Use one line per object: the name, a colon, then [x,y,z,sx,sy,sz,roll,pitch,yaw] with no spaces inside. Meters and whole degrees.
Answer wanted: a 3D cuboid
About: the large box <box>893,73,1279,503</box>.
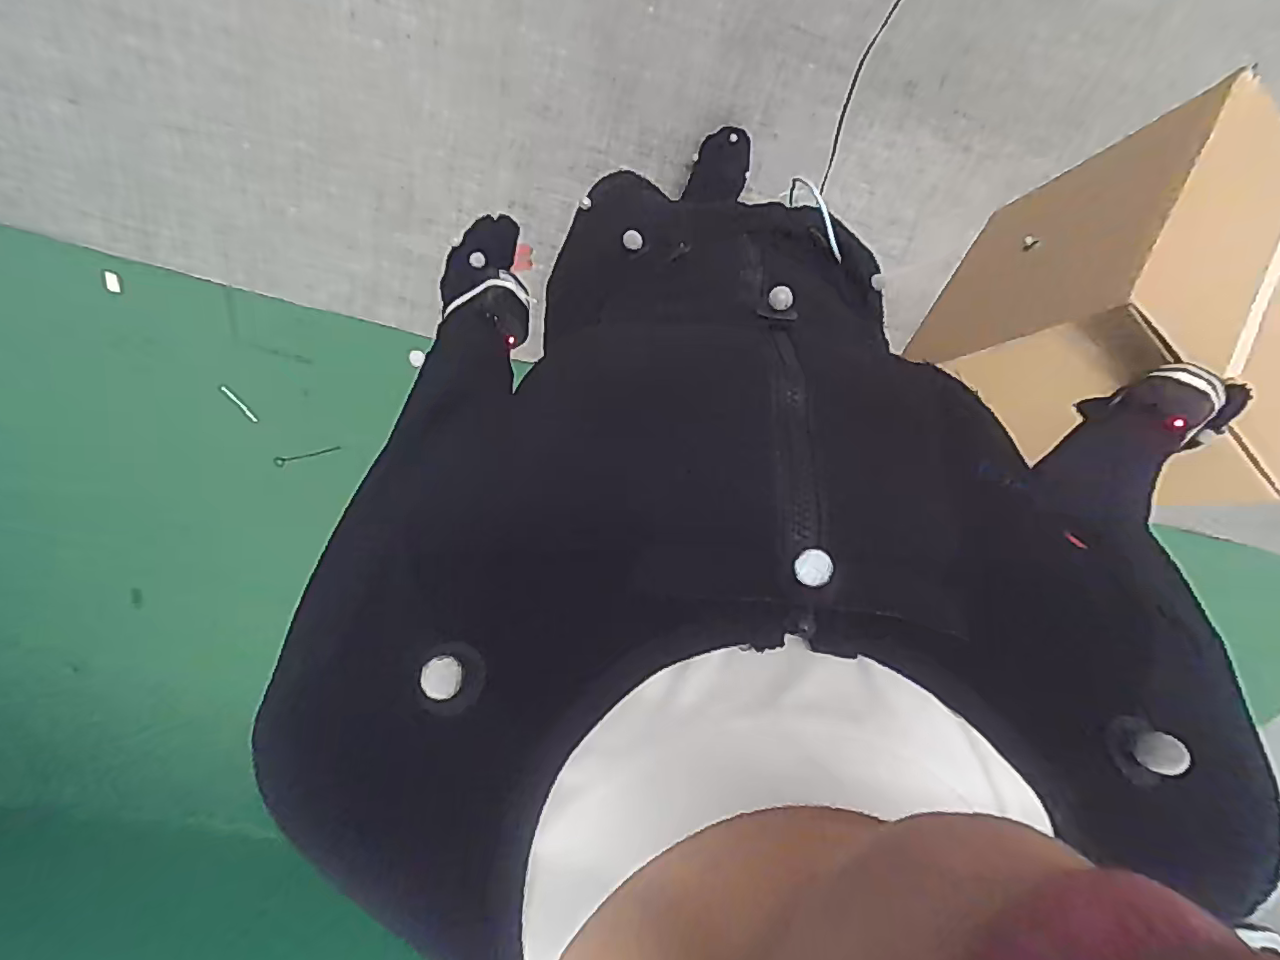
large box: [0.643,-0.219,0.754,0.320,0.320,0.408,41,74,-13]
